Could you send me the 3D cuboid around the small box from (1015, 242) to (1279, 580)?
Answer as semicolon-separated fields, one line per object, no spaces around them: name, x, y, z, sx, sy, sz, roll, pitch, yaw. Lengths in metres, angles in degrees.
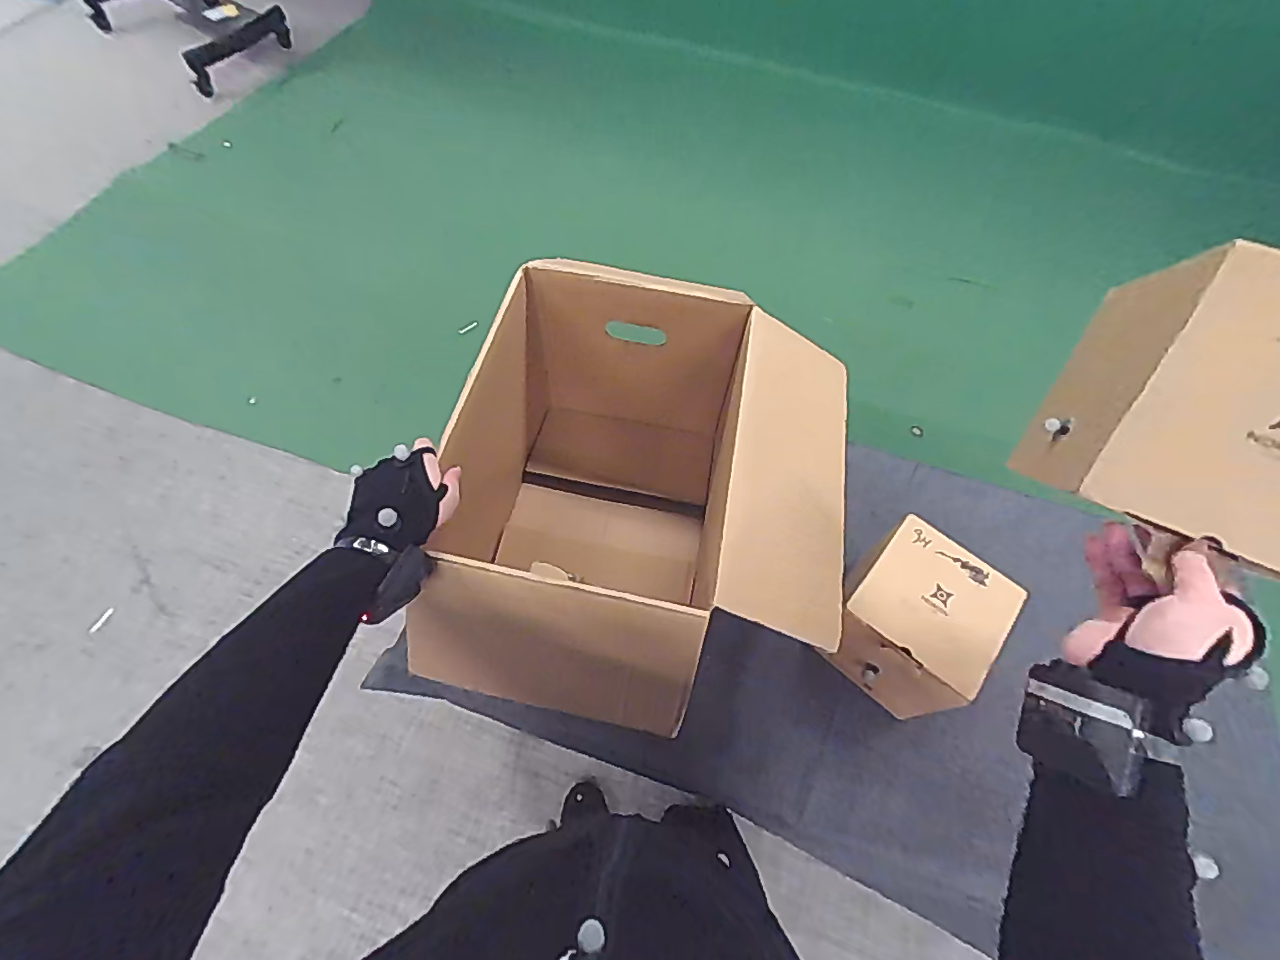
small box;0.423;-0.048;0.408;0.168;0.176;0.179;25;106;14
